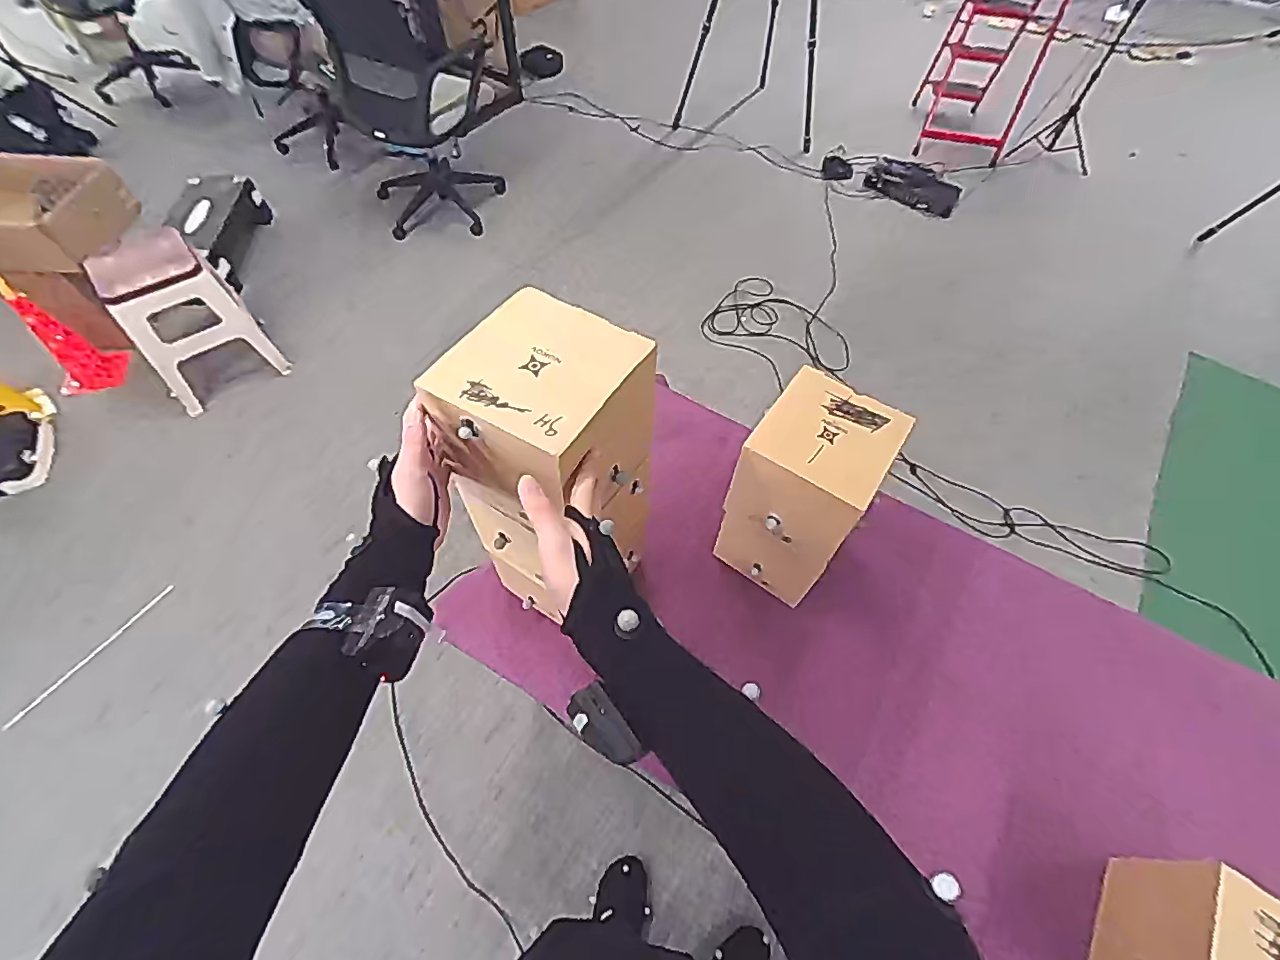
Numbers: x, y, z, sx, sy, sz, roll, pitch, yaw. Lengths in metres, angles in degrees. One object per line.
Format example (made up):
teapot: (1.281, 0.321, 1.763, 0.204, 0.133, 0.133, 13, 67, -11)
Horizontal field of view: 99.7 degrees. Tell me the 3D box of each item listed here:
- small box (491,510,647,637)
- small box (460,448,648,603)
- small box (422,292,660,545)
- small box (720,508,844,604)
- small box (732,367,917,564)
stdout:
small box: (-0.106, 0.115, 0.858, 0.168, 0.176, 0.179, 29, 60, 17)
small box: (-0.102, 0.032, 0.719, 0.168, 0.176, 0.179, 29, 59, 17)
small box: (-0.095, -0.065, 0.585, 0.168, 0.176, 0.179, 26, 57, 16)
small box: (0.249, 0.071, 0.894, 0.168, 0.176, 0.179, 33, 63, 19)
small box: (0.244, -0.017, 0.755, 0.168, 0.176, 0.179, 32, 63, 18)
